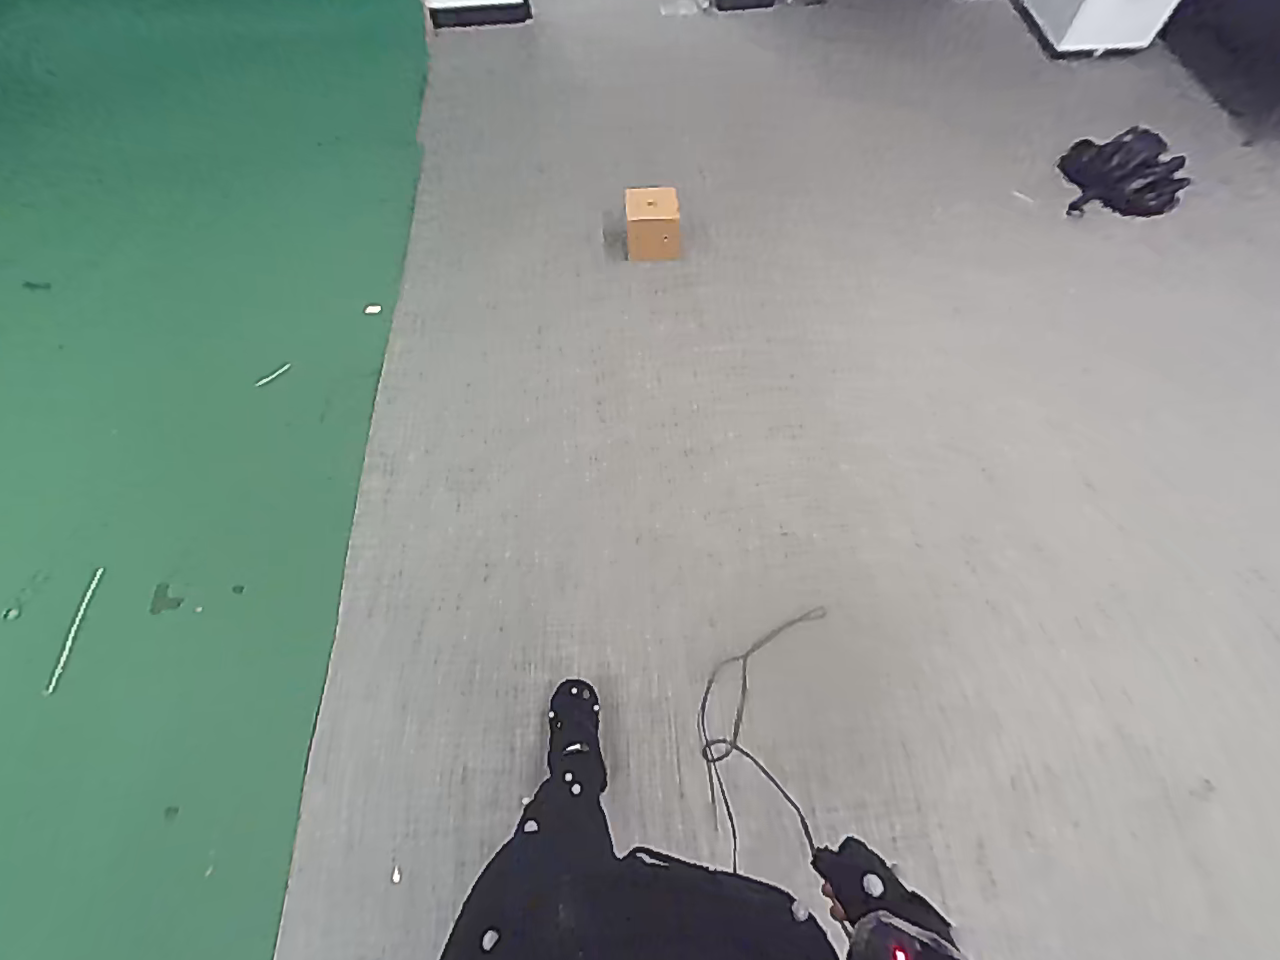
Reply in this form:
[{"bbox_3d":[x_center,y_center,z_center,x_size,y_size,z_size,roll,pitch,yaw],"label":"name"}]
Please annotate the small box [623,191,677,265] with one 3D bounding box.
[{"bbox_3d":[0.033,-0.878,1.890,0.179,0.176,0.168,-4,63,1],"label":"small box"}]
